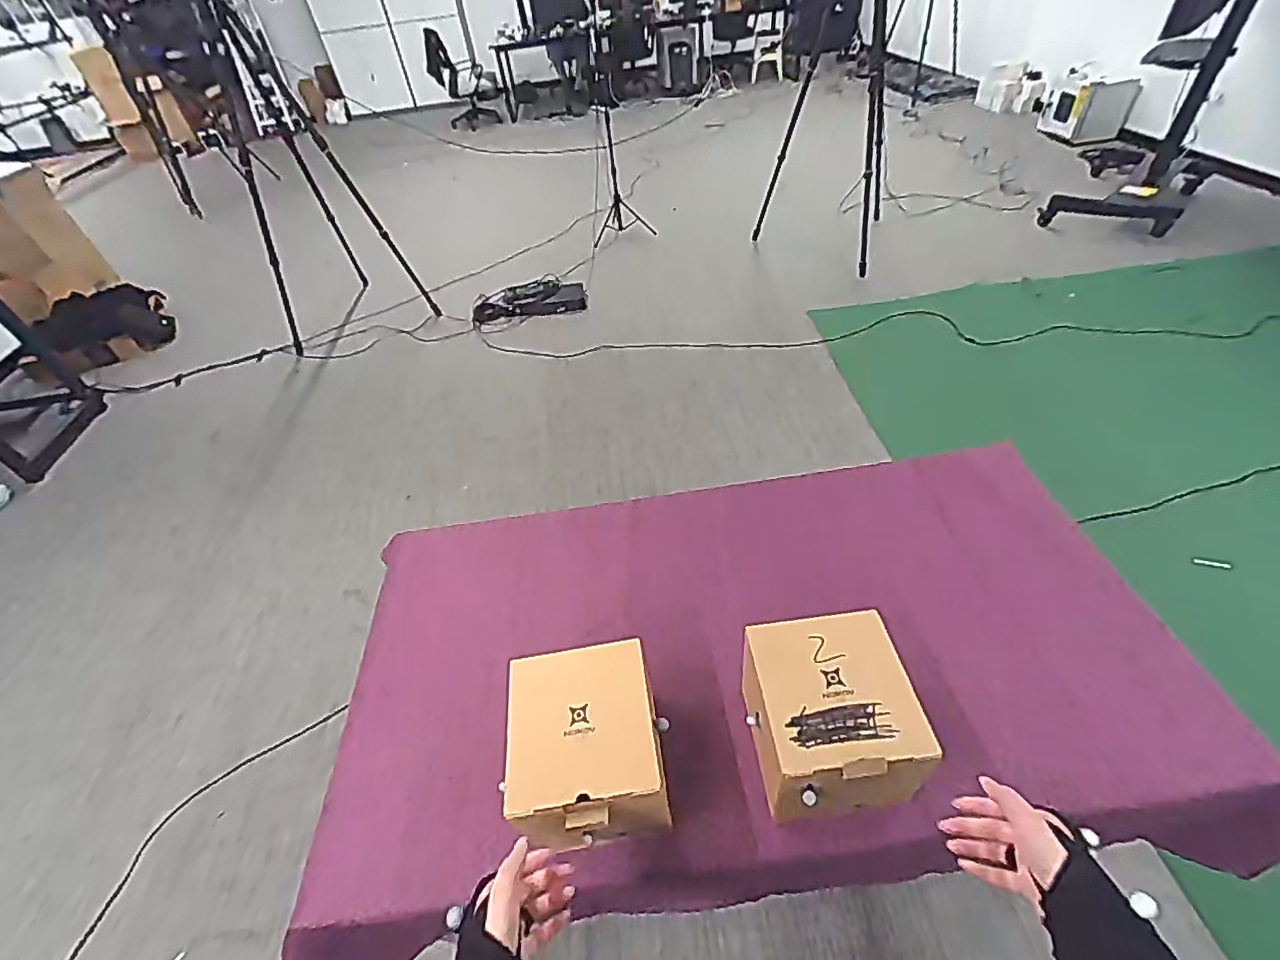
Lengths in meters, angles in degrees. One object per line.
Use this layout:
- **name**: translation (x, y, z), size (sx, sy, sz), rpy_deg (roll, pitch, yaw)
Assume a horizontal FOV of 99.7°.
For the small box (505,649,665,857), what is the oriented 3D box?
- **small box**: translation (-0.064, 0.343, 0.680), size (0.168, 0.176, 0.179), rpy_deg (-10, 45, -2)
